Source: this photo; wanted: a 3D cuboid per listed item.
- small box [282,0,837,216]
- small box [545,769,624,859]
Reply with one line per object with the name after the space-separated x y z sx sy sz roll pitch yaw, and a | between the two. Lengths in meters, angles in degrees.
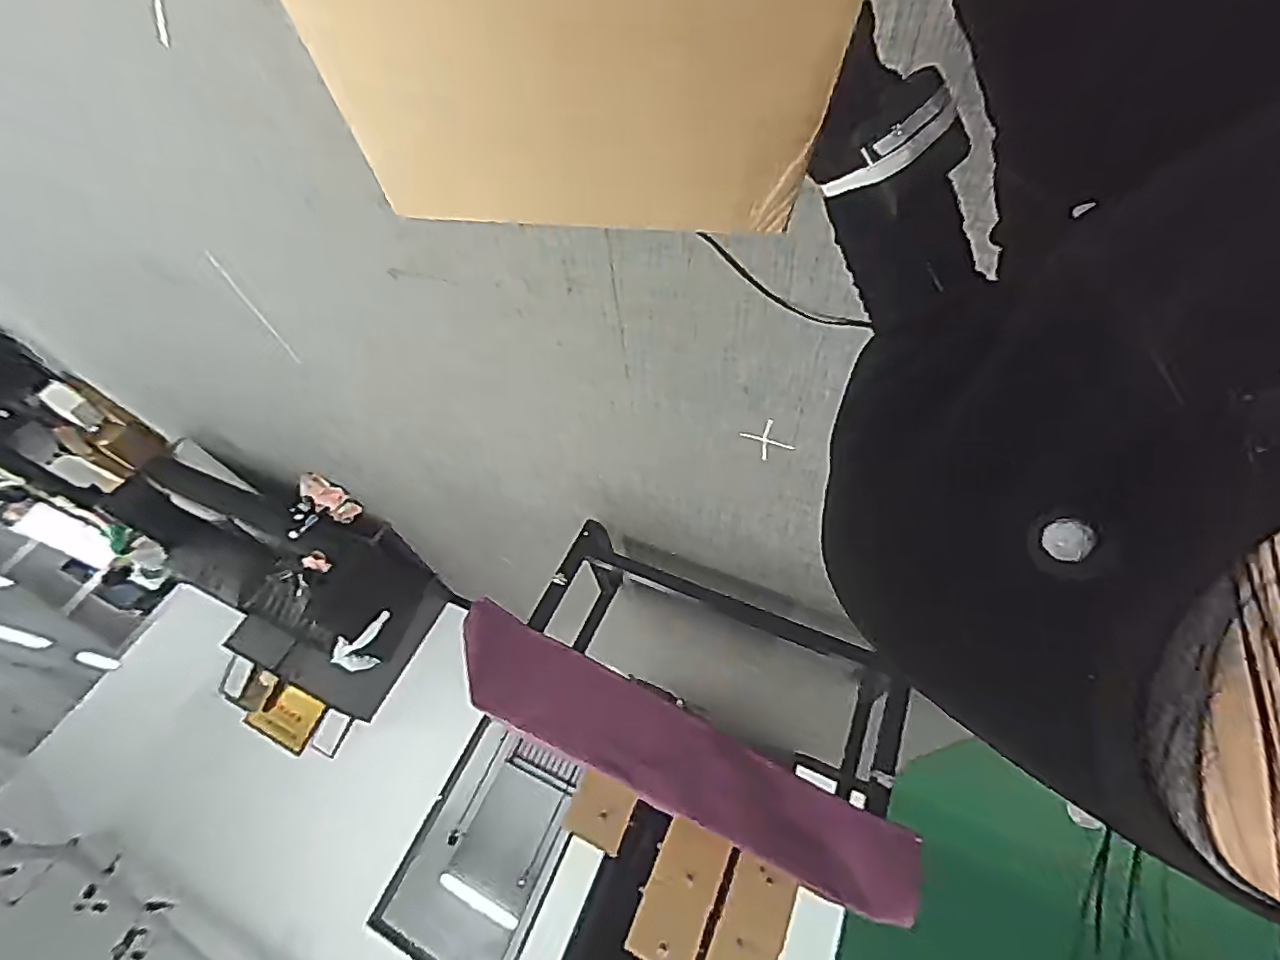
-0.018 -0.218 0.167 0.168 0.179 0.176 3 160 0 | small box
-0.157 0.976 1.592 0.179 0.176 0.168 22 150 10 | small box
